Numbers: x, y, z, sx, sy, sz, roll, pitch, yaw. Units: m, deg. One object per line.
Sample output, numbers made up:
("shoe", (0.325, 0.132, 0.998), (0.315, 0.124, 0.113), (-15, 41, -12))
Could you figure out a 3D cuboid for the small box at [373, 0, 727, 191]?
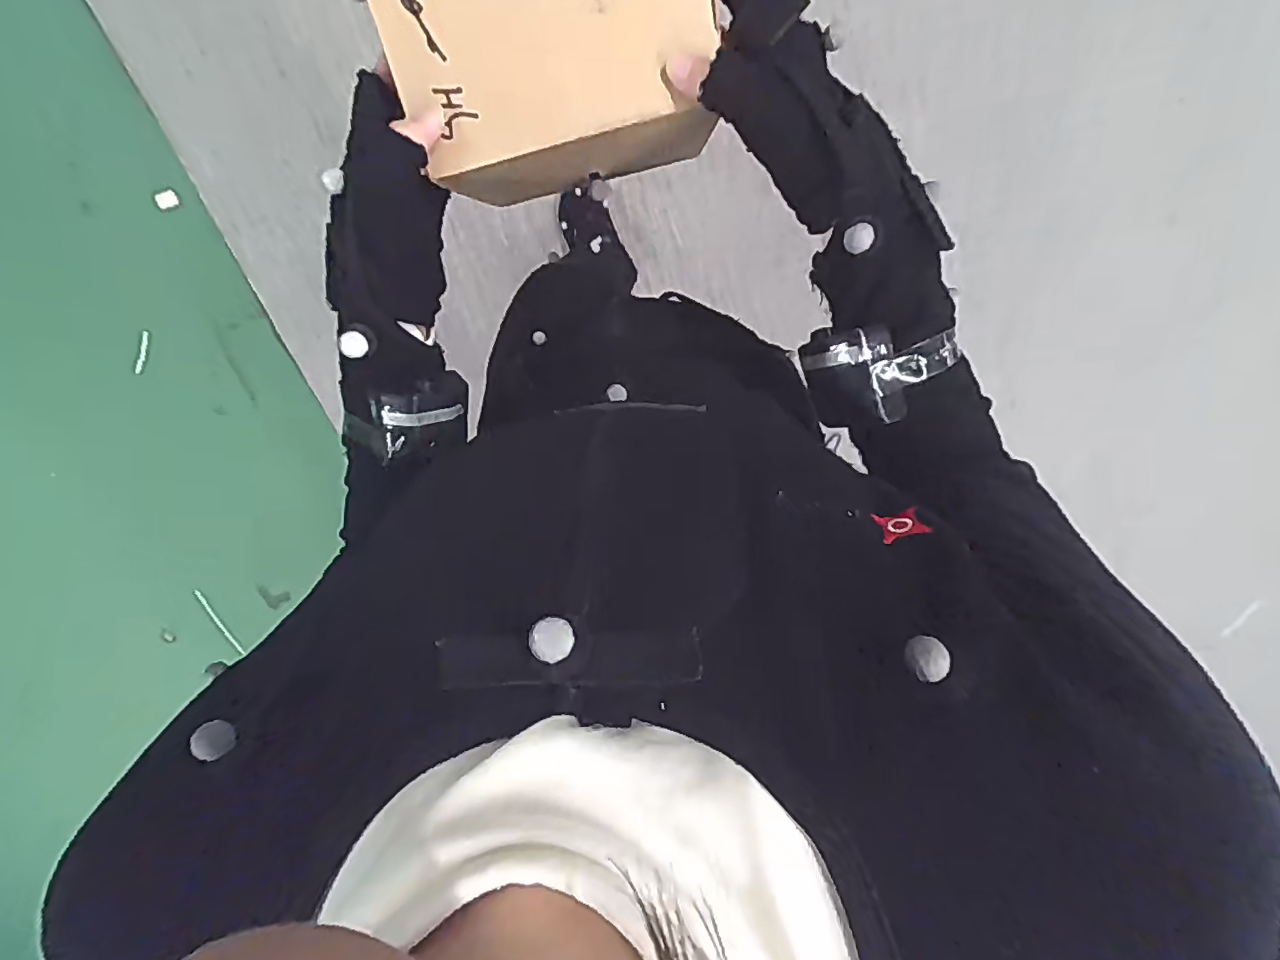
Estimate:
("small box", (-0.055, -0.299, 0.341), (0.179, 0.176, 0.168), (-12, 110, 4))
